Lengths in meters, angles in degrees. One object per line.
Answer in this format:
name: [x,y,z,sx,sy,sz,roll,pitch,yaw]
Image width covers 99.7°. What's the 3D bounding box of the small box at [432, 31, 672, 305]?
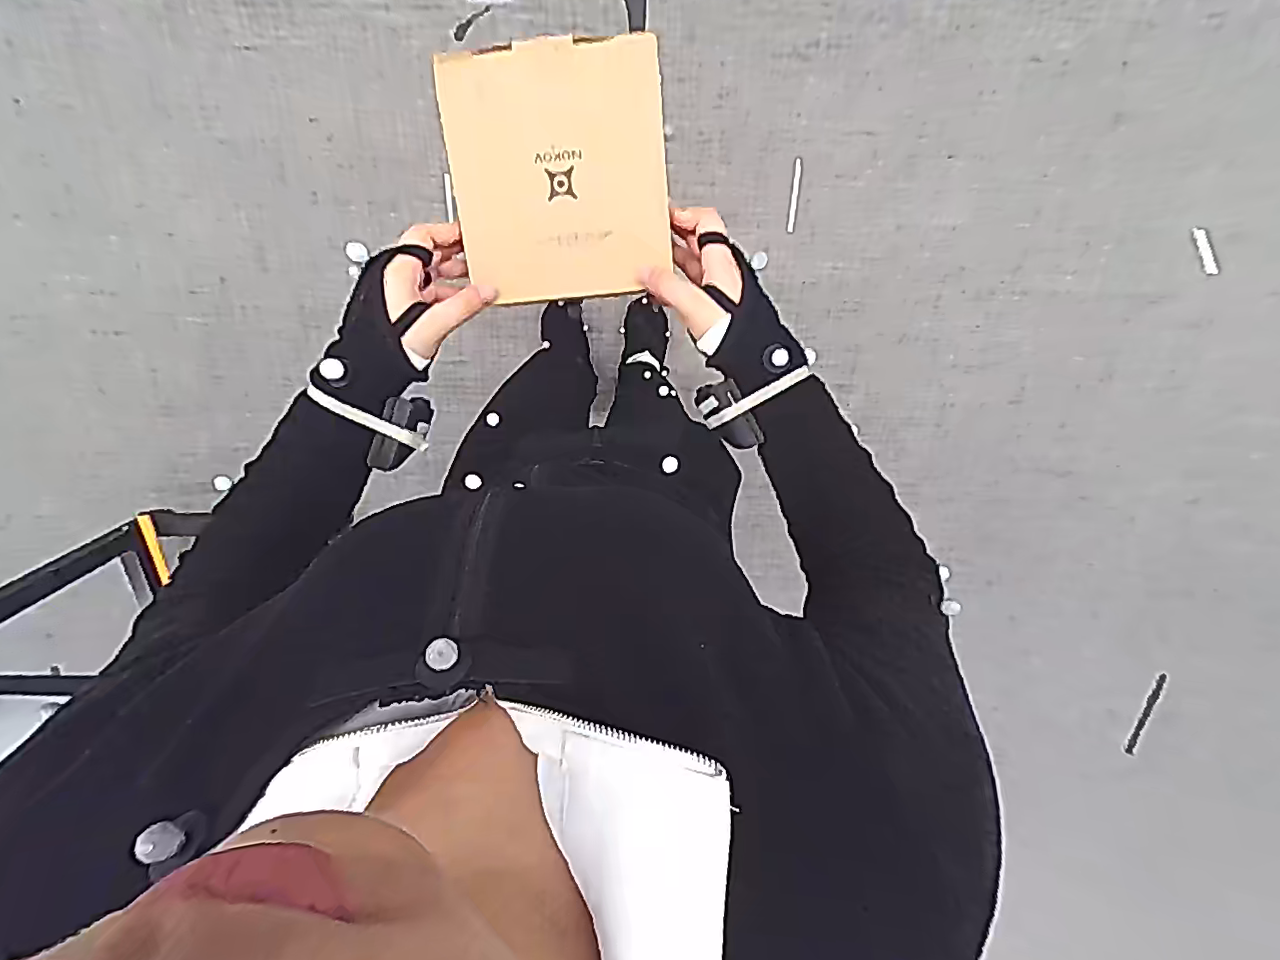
small box: [-0.064,-0.254,0.484,0.168,0.176,0.179,-5,109,0]
